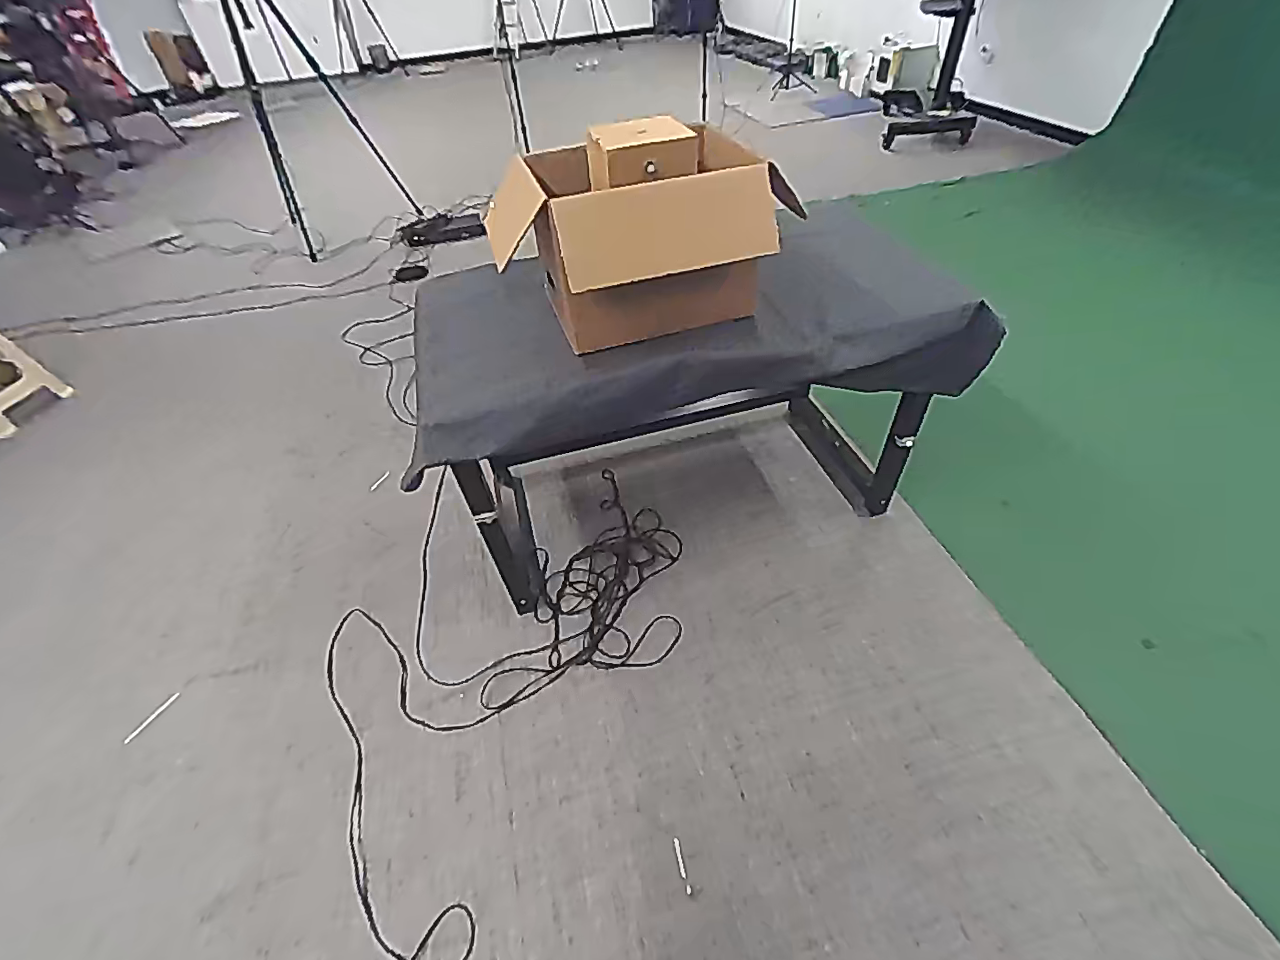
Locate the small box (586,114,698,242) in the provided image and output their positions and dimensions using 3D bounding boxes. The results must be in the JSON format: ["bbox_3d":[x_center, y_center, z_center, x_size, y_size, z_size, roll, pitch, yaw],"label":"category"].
[{"bbox_3d":[0.004,-0.592,1.063,0.179,0.176,0.168,-15,47,-9],"label":"small box"}]
